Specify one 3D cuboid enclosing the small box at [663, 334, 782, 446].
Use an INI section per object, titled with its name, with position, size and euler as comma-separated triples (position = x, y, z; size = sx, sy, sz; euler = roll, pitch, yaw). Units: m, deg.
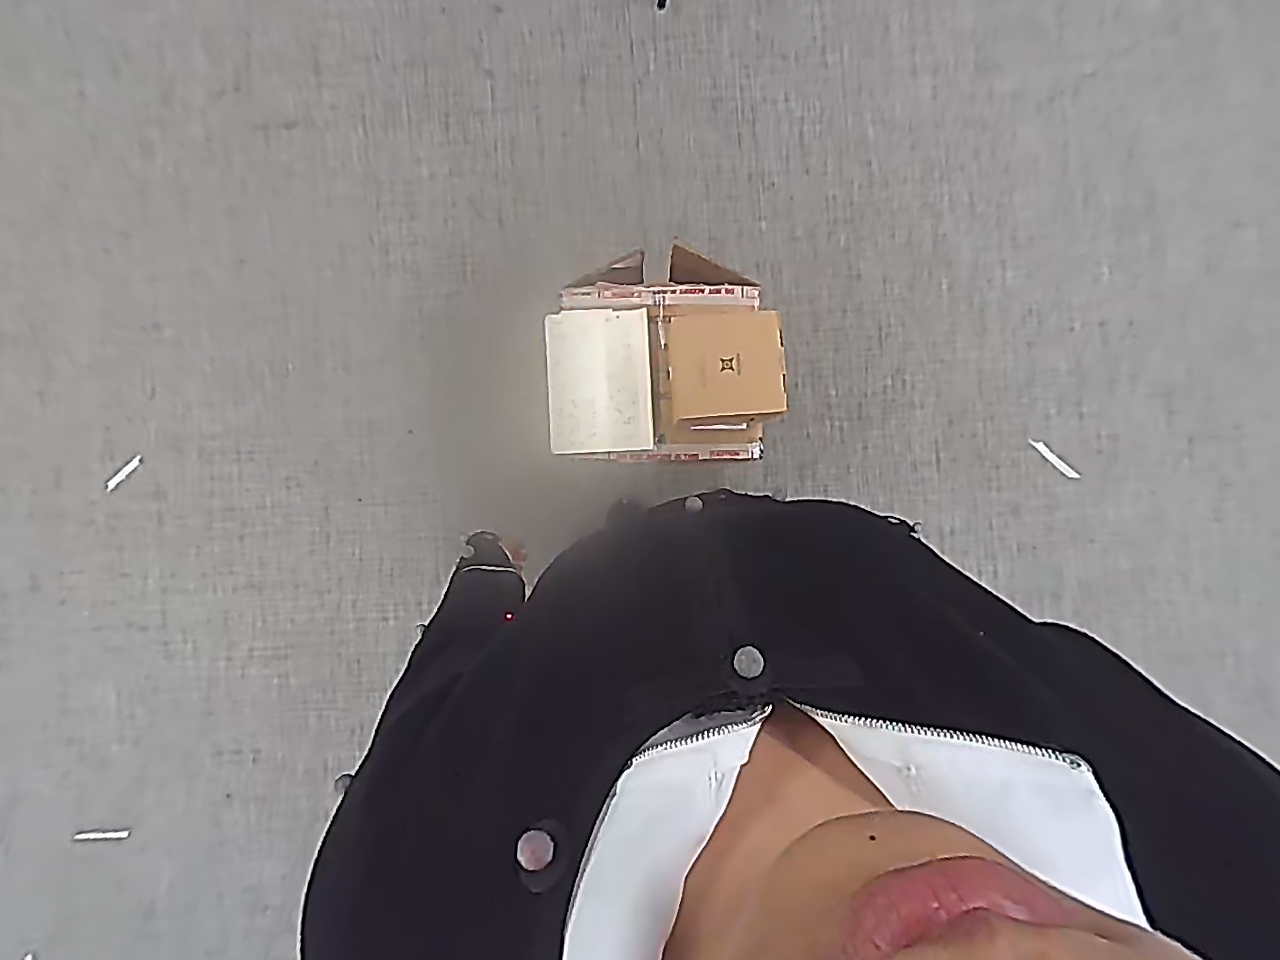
[small box]
position = 0.138, -0.151, 0.955
size = 0.179, 0.176, 0.168
euler = -5, 90, 0
